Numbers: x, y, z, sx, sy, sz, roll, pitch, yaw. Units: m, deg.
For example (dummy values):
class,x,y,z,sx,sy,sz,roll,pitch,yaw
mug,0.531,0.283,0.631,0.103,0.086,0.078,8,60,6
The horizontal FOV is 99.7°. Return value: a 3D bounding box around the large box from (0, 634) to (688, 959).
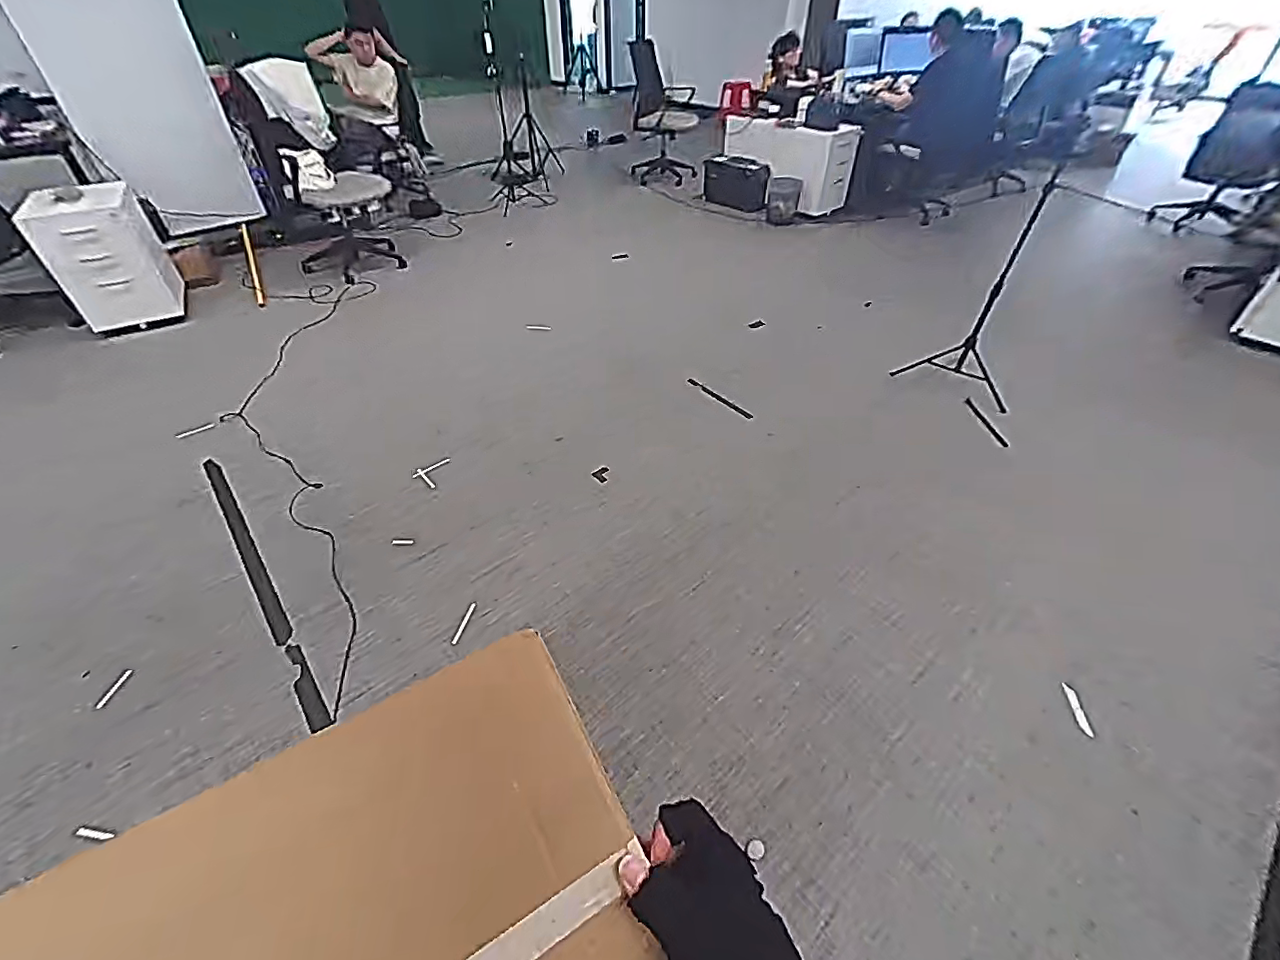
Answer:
class,x,y,z,sx,sy,sz,roll,pitch,yaw
large box,-0.207,0.366,0.401,0.408,0.320,0.320,-23,77,-22
